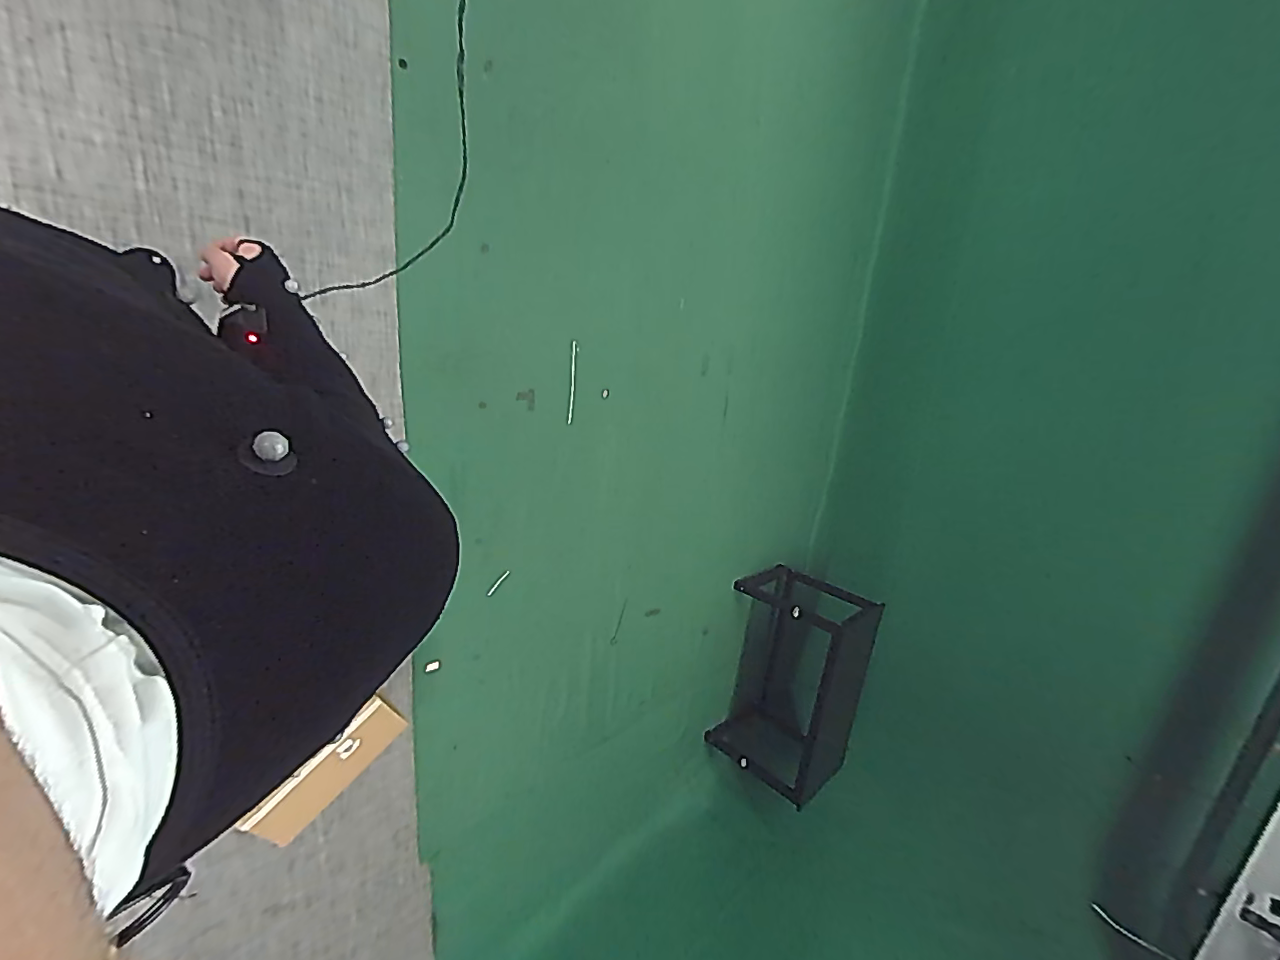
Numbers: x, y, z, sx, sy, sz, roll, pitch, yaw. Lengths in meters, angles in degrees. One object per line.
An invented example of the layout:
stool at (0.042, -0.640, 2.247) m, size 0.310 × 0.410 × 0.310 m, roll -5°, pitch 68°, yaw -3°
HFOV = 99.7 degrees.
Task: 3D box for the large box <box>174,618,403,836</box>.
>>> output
large box at (-0.983, 0.681, 1.532) m, size 0.408 × 0.320 × 0.320 m, roll -46°, pitch 135°, yaw -27°
